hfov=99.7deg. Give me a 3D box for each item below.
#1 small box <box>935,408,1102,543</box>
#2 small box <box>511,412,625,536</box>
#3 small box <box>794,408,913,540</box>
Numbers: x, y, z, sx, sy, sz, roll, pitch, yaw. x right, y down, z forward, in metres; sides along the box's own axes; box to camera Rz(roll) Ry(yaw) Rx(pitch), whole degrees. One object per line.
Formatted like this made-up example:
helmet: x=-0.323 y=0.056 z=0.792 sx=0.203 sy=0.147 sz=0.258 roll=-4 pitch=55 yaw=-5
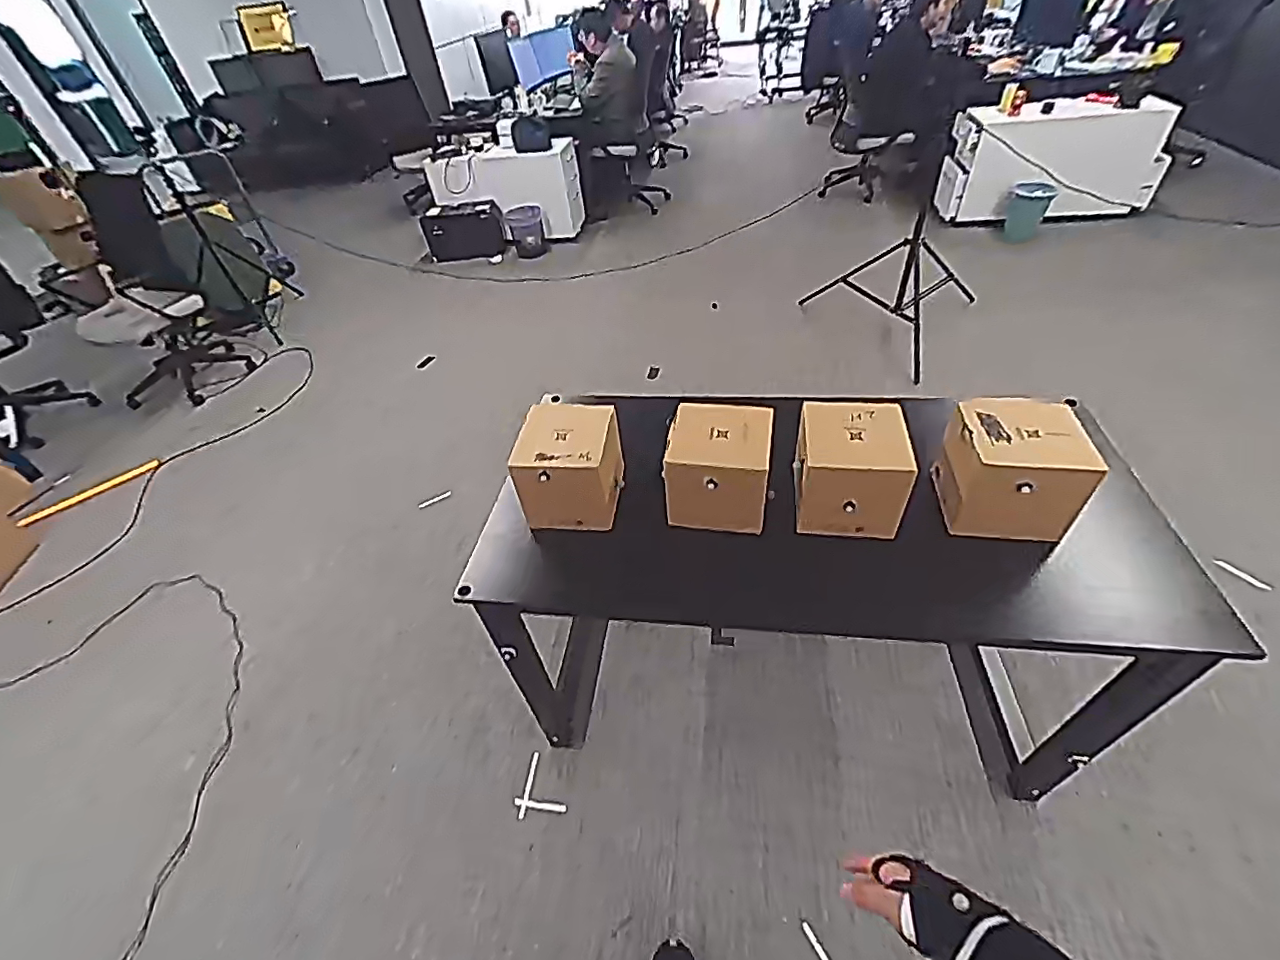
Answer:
small box: x=0.630 y=-0.007 z=0.933 sx=0.179 sy=0.176 sz=0.168 roll=4 pitch=45 yaw=11
small box: x=-0.128 y=-0.014 z=1.047 sx=0.168 sy=0.176 sz=0.179 roll=1 pitch=44 yaw=10
small box: x=0.372 y=-0.010 z=0.973 sx=0.168 sy=0.176 sz=0.179 roll=3 pitch=44 yaw=11
